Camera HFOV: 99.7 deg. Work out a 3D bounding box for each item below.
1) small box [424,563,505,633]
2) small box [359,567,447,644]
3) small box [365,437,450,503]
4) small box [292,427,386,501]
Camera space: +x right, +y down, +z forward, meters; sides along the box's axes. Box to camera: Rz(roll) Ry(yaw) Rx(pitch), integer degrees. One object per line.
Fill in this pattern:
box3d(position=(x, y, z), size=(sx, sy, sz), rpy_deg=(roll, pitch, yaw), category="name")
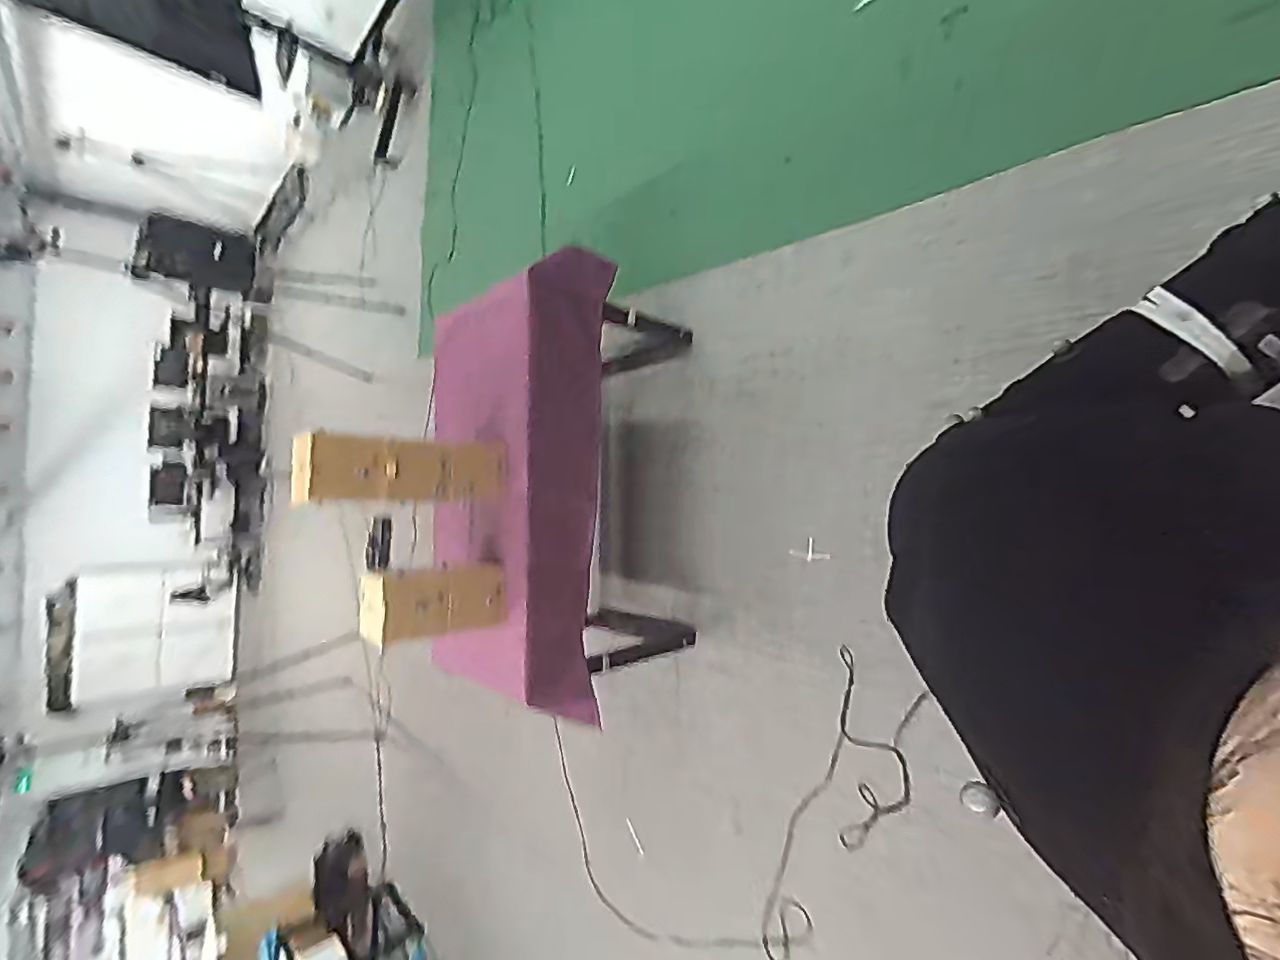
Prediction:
box3d(position=(-0.505, 0.329, 1.545), size=(0.179, 0.176, 0.168), rpy_deg=(-1, 88, 46), category="small box")
box3d(position=(-0.626, 0.323, 1.433), size=(0.179, 0.176, 0.168), rpy_deg=(-1, 86, 45), category="small box")
box3d(position=(-0.623, -0.024, 1.452), size=(0.179, 0.176, 0.168), rpy_deg=(-3, 86, 47), category="small box")
box3d(position=(-0.747, -0.034, 1.346), size=(0.179, 0.176, 0.168), rpy_deg=(-4, 85, 46), category="small box")
